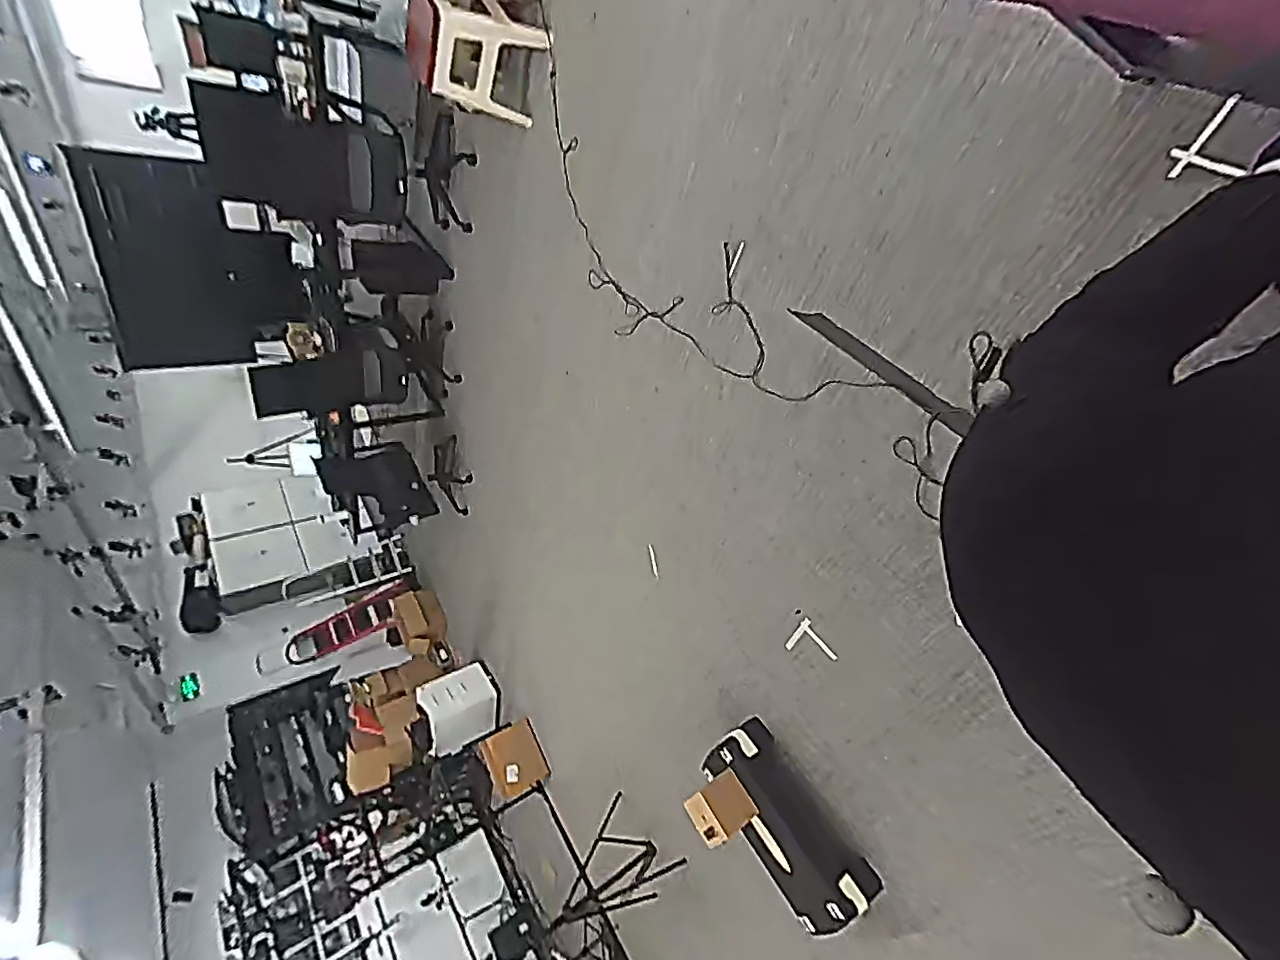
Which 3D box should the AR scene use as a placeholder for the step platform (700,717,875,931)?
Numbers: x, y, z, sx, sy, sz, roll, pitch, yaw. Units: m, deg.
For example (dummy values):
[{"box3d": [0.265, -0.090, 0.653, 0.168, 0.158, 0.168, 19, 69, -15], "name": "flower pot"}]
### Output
[{"box3d": [0.523, 1.276, 2.036, 0.684, 0.204, 0.286, 49, 138, 30], "name": "step platform"}]
